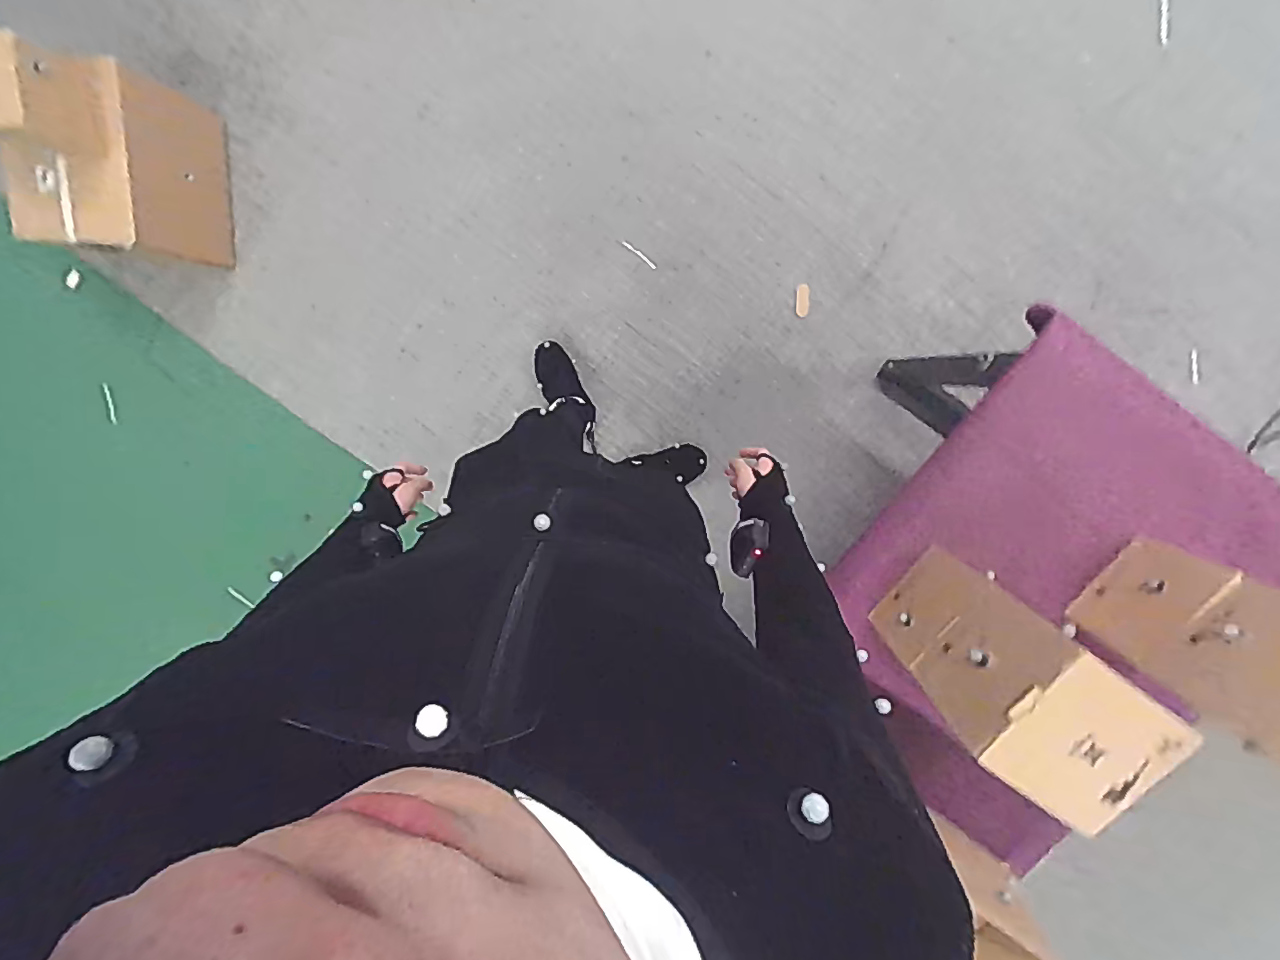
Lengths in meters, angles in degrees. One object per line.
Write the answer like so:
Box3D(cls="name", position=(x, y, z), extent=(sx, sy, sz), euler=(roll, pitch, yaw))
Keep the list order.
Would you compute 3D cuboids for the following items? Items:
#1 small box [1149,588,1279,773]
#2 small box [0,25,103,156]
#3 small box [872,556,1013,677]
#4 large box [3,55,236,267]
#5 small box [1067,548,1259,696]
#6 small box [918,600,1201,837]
Box3D(cls="small box", position=(0.790, 0.259, 0.642), extent=(0.179, 0.176, 0.168), euler=(39, 100, -4))
Box3D(cls="small box", position=(-1.303, -0.818, 1.143), extent=(0.168, 0.176, 0.179), euler=(4, 102, 2))
Box3D(cls="small box", position=(0.492, 0.237, 0.822), extent=(0.179, 0.176, 0.168), euler=(36, 102, -5))
Box3D(cls="large box", position=(-1.326, -0.798, 1.402), extent=(0.320, 0.320, 0.408), euler=(5, 102, 3))
Box3D(cls="small box", position=(0.802, 0.221, 0.802), extent=(0.179, 0.176, 0.168), euler=(35, 101, -4))
Box3D(cls="small box", position=(0.486, 0.272, 0.662), extent=(0.179, 0.176, 0.168), euler=(36, 102, -4))
